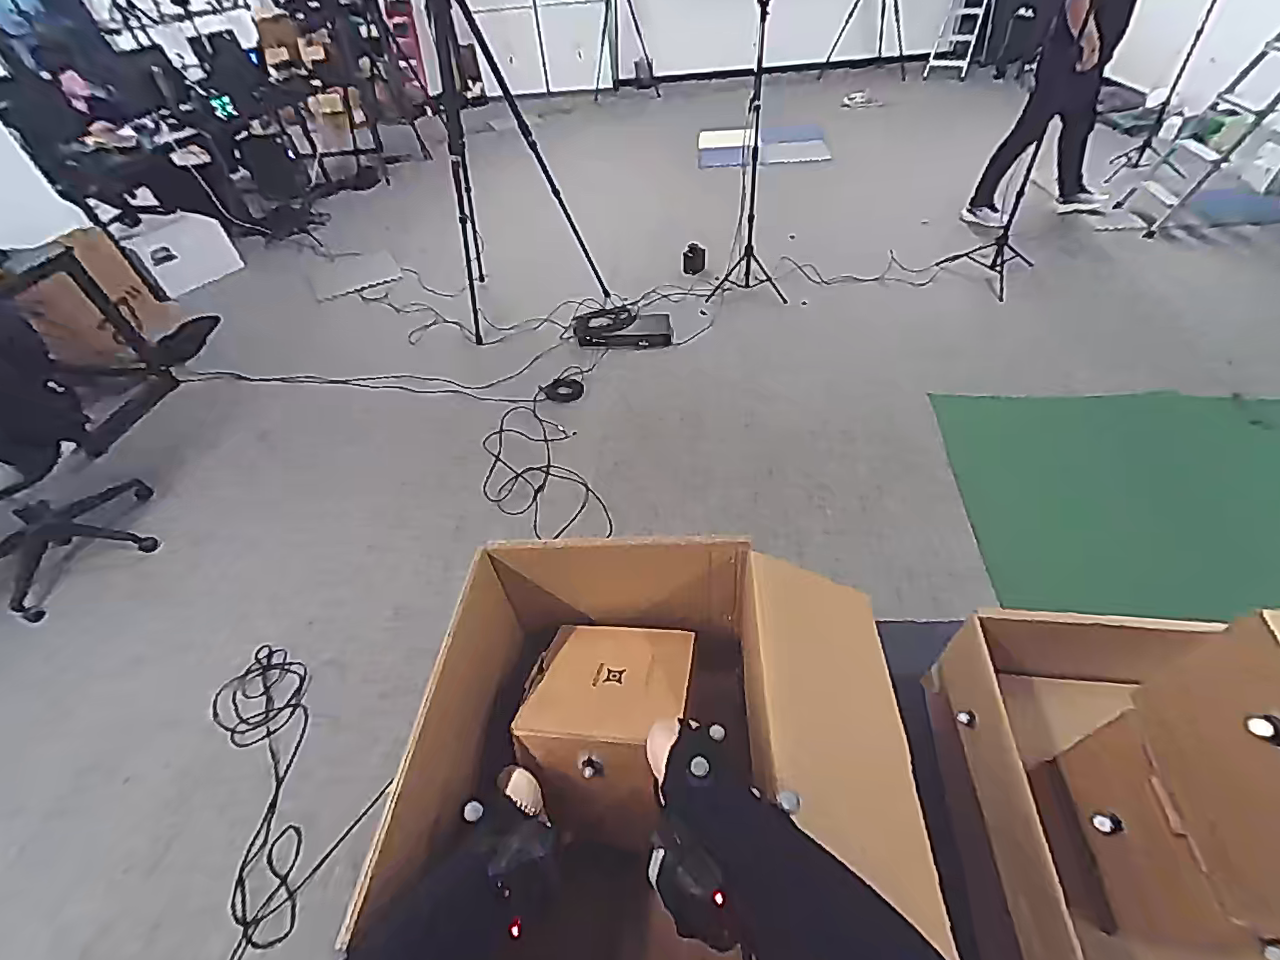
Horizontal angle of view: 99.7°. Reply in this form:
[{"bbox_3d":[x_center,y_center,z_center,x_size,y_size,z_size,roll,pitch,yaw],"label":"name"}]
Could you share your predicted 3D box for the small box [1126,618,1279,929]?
[{"bbox_3d":[0.533,0.230,0.409,0.168,0.176,0.179,3,49,9],"label":"small box"}]
